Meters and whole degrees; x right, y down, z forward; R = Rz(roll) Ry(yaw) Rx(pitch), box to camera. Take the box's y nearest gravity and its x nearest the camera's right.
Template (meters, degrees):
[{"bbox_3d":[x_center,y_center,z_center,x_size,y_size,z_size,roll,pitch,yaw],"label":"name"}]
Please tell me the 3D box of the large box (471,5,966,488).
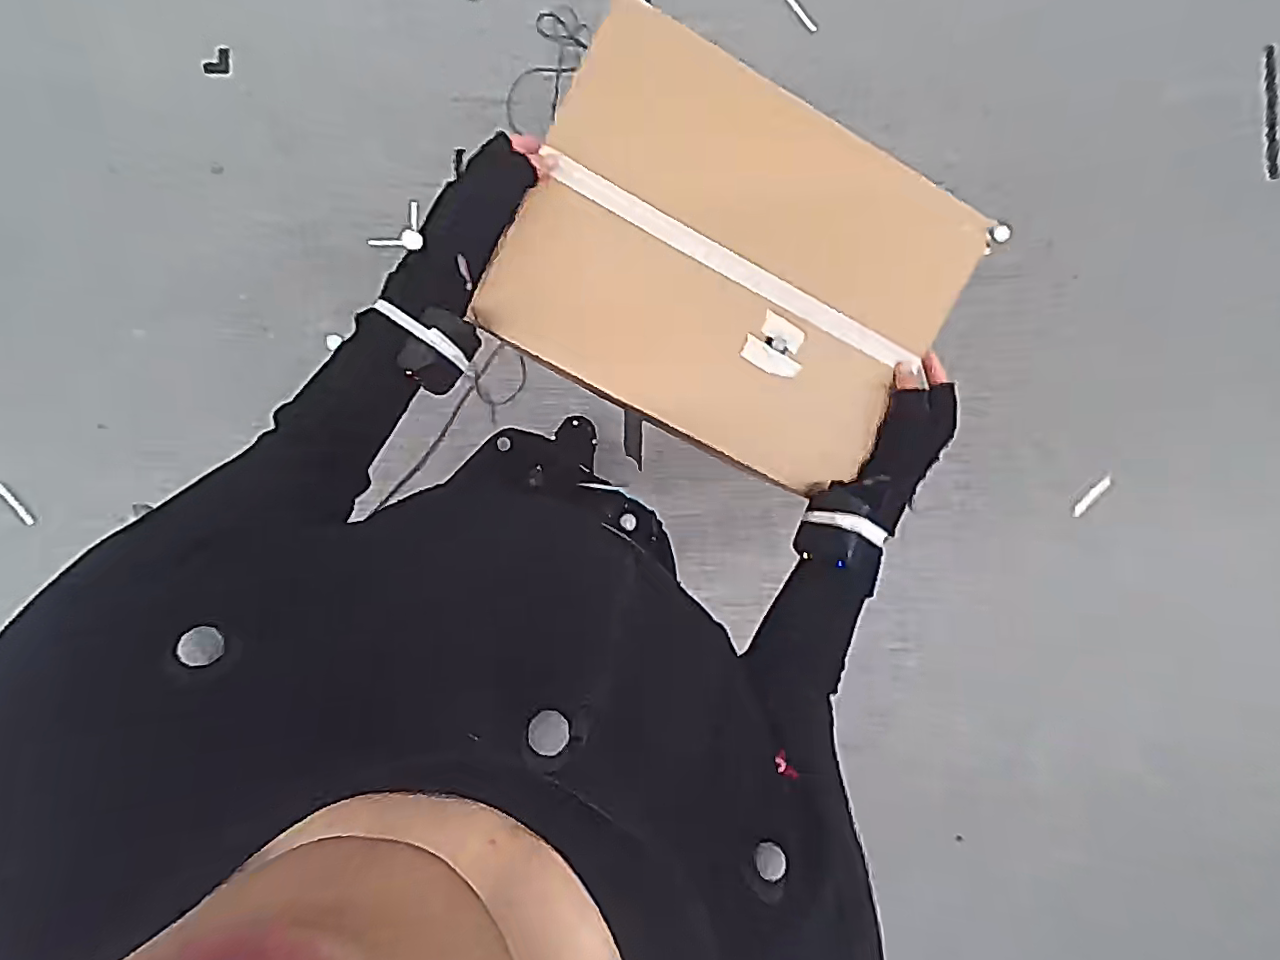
[{"bbox_3d":[0.066,-0.226,0.663,0.408,0.320,0.320,25,96,-9],"label":"large box"}]
